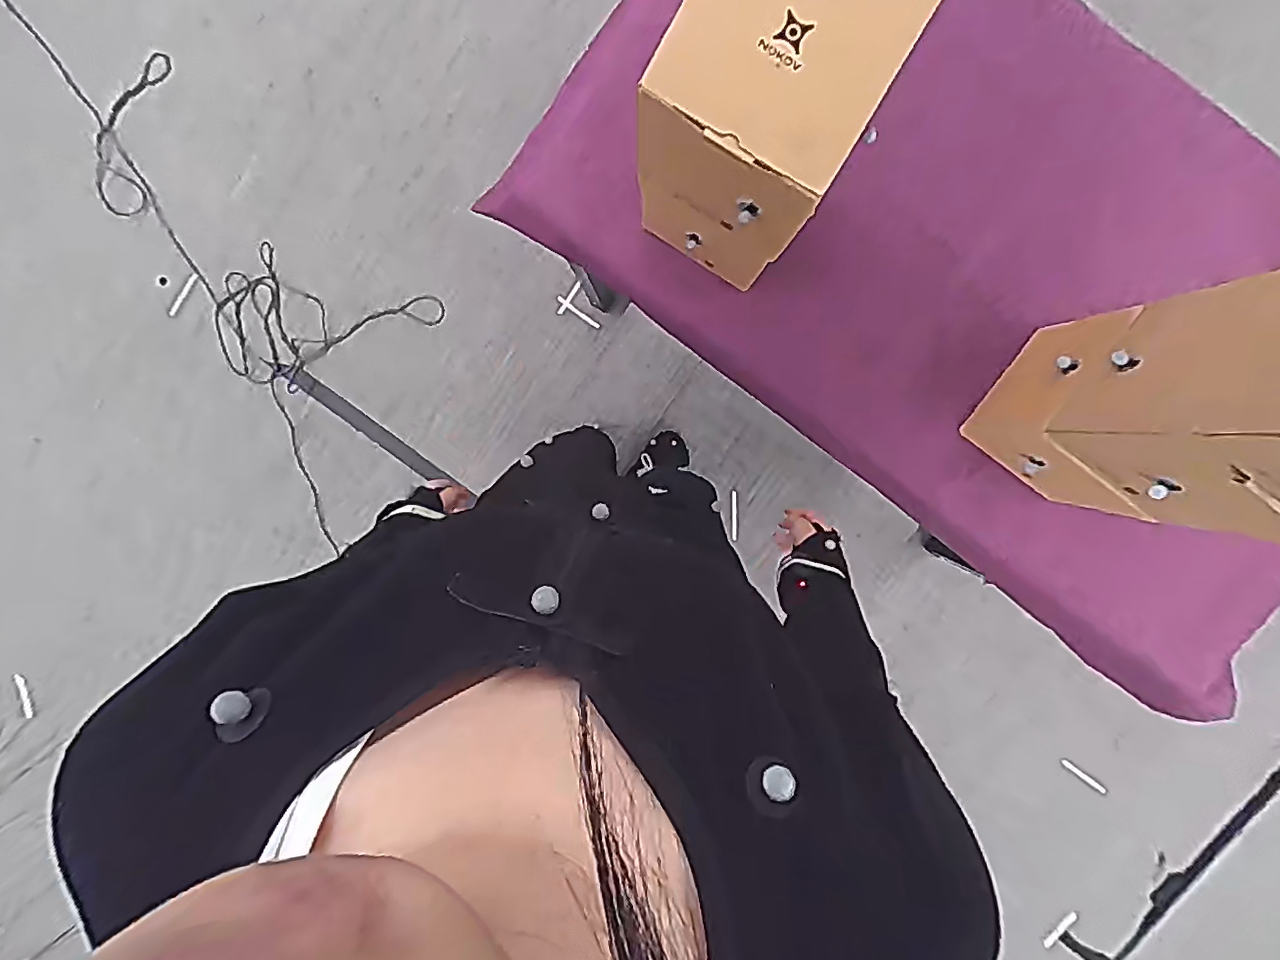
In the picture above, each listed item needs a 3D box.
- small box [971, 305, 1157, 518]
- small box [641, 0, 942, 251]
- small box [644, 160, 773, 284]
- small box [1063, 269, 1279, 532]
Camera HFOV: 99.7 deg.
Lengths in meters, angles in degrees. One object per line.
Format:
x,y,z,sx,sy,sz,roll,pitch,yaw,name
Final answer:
0.554,-0.080,0.667,0.168,0.176,0.179,36,95,-2,small box
0.114,-0.338,0.481,0.168,0.176,0.179,30,95,-3,small box
0.120,-0.363,0.642,0.168,0.176,0.179,32,95,-3,small box
0.554,-0.066,0.504,0.168,0.176,0.179,37,96,-2,small box
